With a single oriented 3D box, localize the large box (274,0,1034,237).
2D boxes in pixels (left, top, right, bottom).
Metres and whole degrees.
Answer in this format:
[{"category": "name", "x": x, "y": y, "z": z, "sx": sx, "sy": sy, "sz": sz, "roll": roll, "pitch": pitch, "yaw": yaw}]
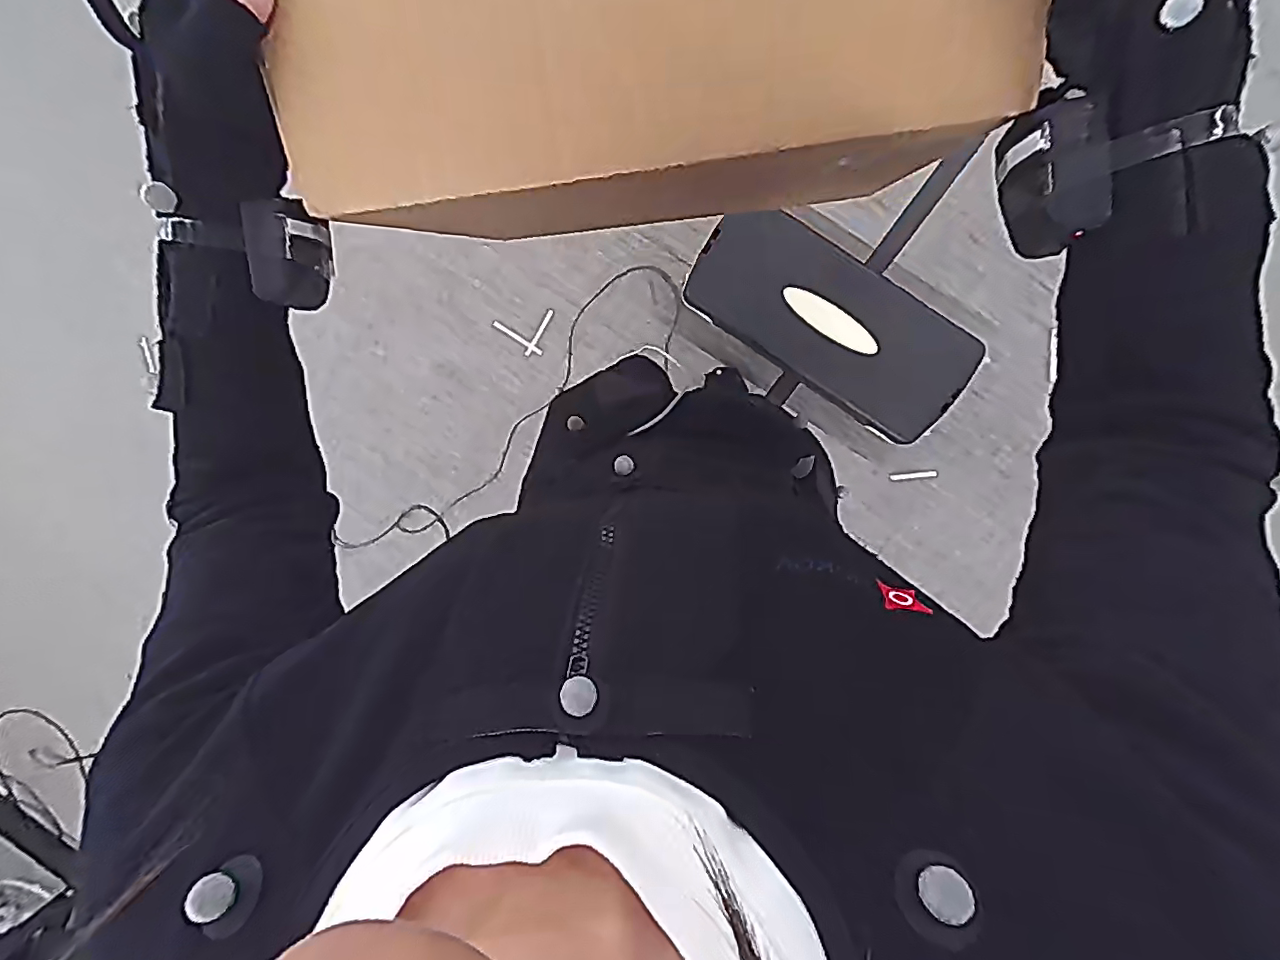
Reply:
[{"category": "large box", "x": 0.002, "y": -0.379, "z": 0.395, "sx": 0.408, "sy": 0.320, "sz": 0.320, "roll": -3, "pitch": 111, "yaw": 9}]
